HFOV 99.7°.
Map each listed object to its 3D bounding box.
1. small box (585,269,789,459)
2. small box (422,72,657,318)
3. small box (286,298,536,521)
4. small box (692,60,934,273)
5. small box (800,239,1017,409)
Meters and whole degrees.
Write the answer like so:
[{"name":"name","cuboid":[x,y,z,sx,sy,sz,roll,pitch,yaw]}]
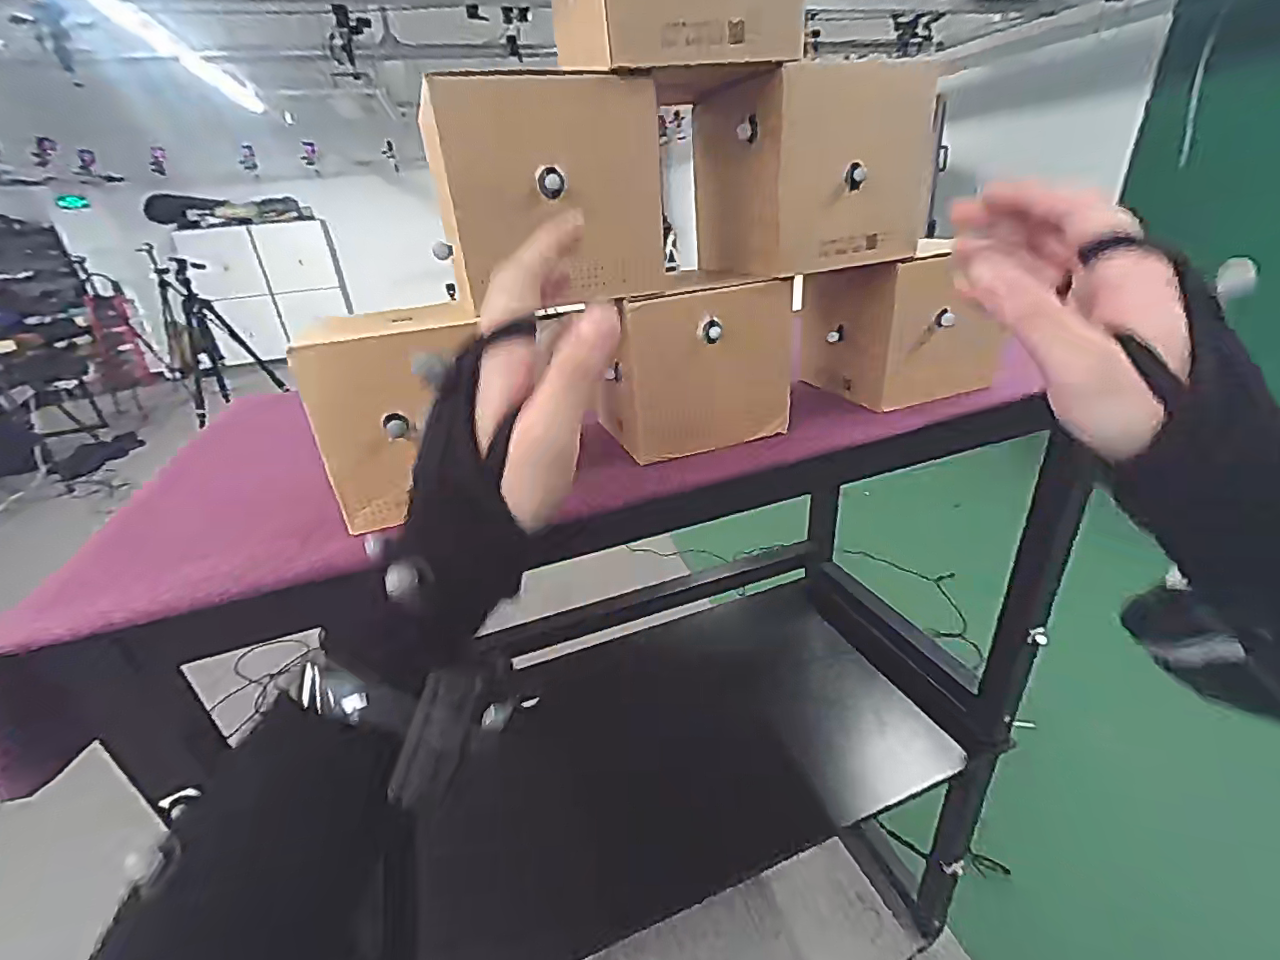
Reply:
[{"name":"small box","cuboid":[0.048,-0.135,0.604,0.179,0.176,0.168,-13,27,-15]},{"name":"small box","cuboid":[-0.091,-0.255,0.501,0.179,0.176,0.168,-14,27,-17]},{"name":"small box","cuboid":[-0.208,-0.074,0.526,0.168,0.176,0.179,-15,26,-17]},{"name":"small box","cuboid":[0.169,-0.313,0.568,0.168,0.176,0.179,-14,27,-16]},{"name":"small box","cuboid":[0.322,-0.200,0.679,0.179,0.176,0.168,-15,29,-16]}]
